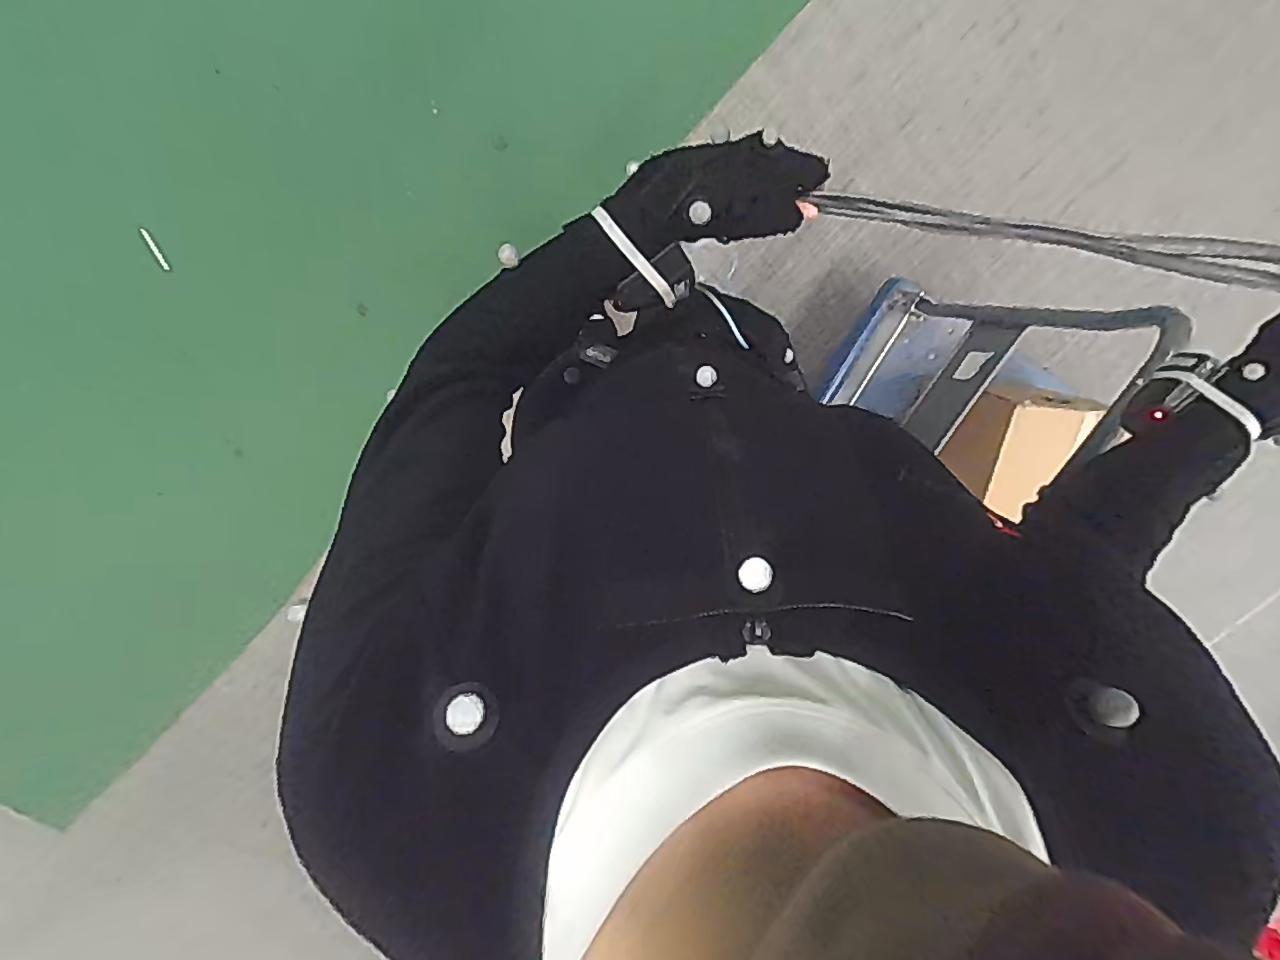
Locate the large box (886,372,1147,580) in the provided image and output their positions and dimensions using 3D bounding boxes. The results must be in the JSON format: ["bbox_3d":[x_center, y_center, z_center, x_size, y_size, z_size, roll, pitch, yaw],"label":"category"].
[{"bbox_3d":[0.831,-0.020,1.262,0.320,0.320,0.408,3,109,-8],"label":"large box"}]
